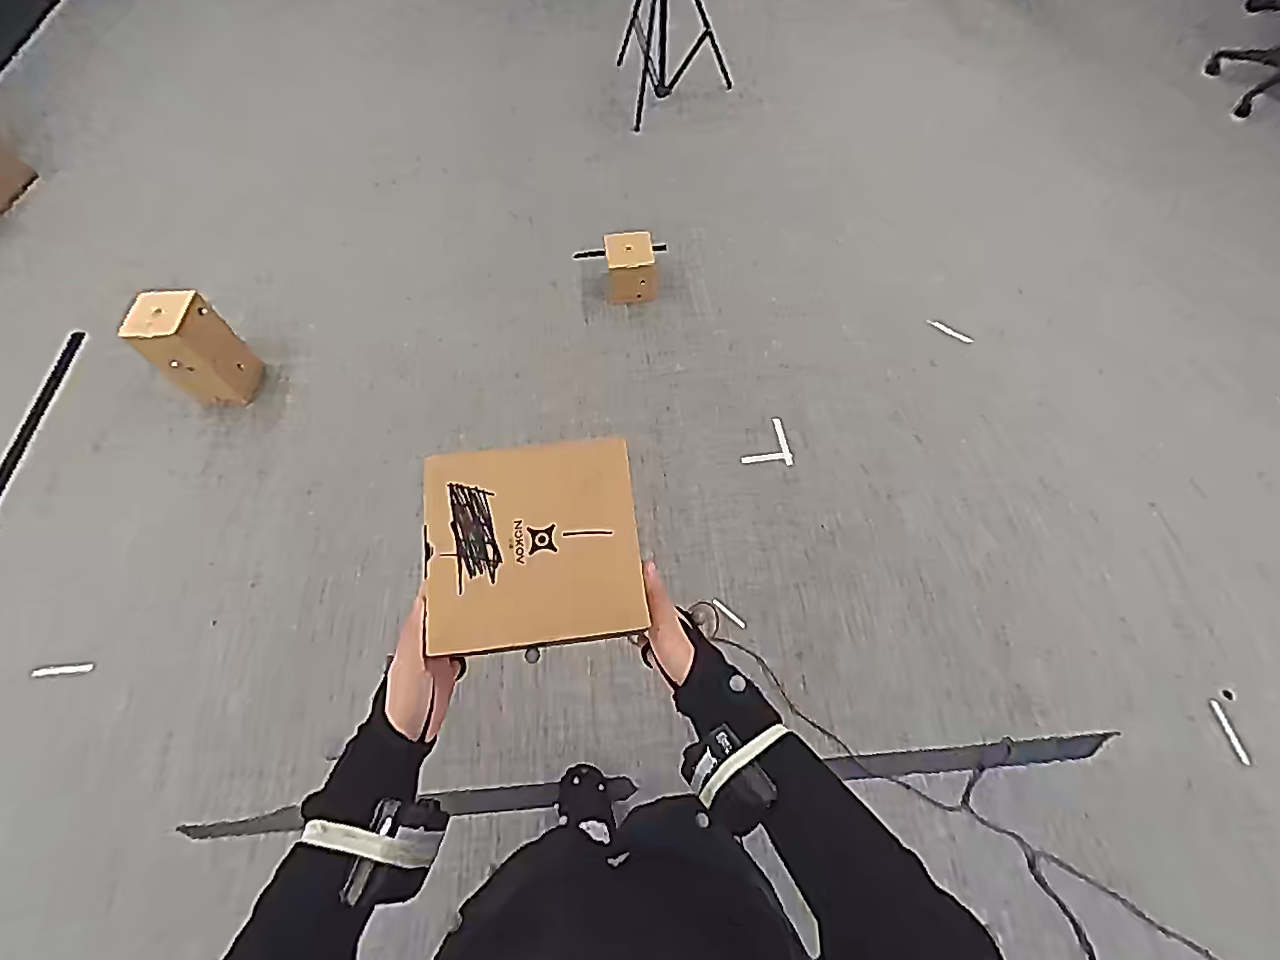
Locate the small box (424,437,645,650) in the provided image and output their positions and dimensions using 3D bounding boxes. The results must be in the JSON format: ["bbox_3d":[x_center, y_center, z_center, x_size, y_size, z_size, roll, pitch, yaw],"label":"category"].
[{"bbox_3d":[-0.091,0.071,0.521,0.179,0.176,0.168,-6,74,-4],"label":"small box"}]

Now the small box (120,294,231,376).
[{"bbox_3d":[-1.385,-0.435,1.629,0.168,0.176,0.179,-2,63,1],"label":"small box"}]

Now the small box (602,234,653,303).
[{"bbox_3d":[-0.043,-0.764,1.974,0.168,0.176,0.179,-7,61,-4],"label":"small box"}]
